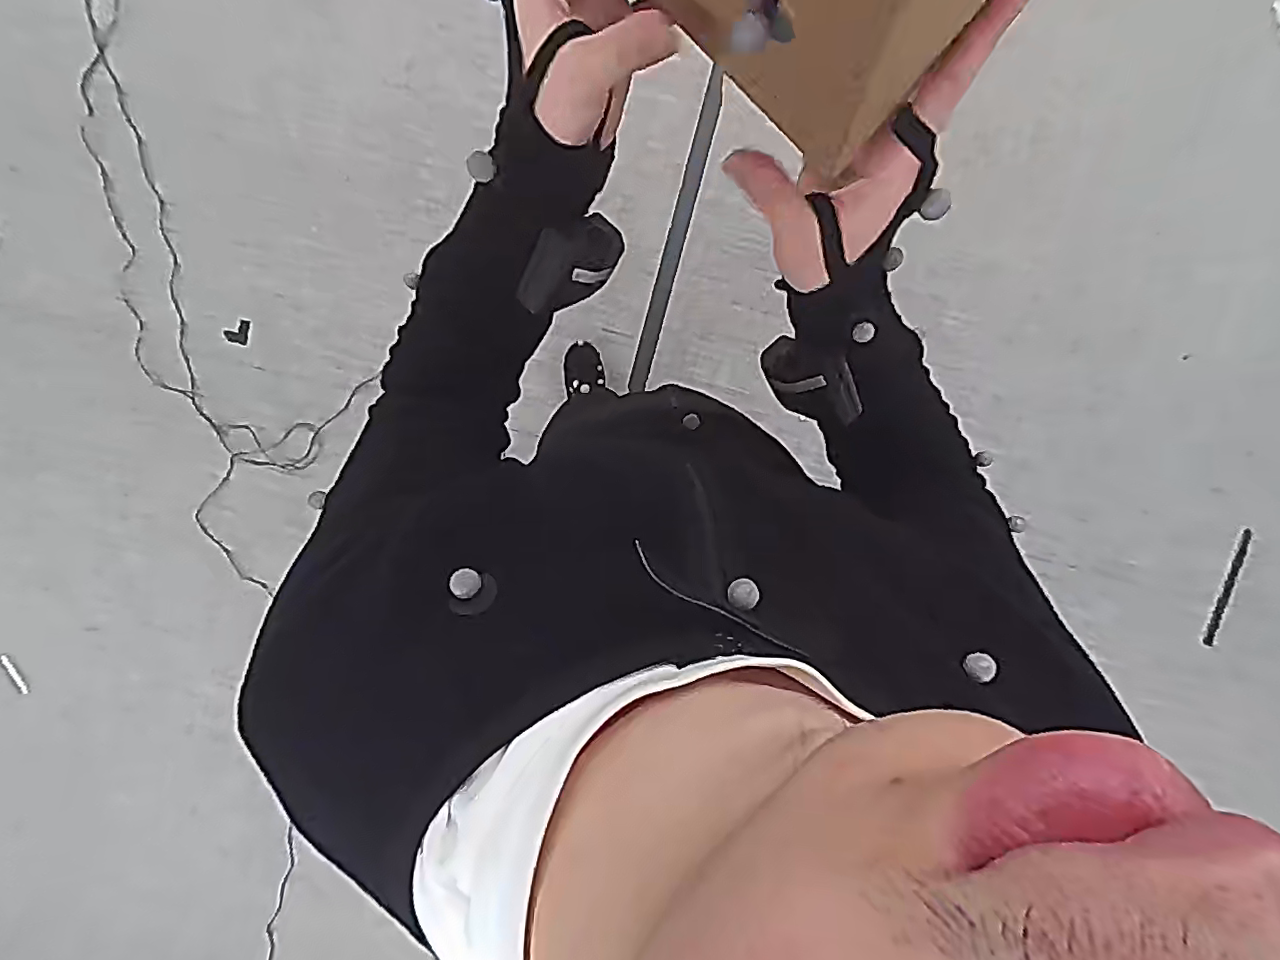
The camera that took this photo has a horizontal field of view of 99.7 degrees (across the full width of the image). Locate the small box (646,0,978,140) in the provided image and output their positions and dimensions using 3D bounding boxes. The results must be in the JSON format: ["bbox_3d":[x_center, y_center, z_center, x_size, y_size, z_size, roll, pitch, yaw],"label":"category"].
[{"bbox_3d":[0.071,-0.250,0.174,0.179,0.176,0.168,44,107,0],"label":"small box"}]
